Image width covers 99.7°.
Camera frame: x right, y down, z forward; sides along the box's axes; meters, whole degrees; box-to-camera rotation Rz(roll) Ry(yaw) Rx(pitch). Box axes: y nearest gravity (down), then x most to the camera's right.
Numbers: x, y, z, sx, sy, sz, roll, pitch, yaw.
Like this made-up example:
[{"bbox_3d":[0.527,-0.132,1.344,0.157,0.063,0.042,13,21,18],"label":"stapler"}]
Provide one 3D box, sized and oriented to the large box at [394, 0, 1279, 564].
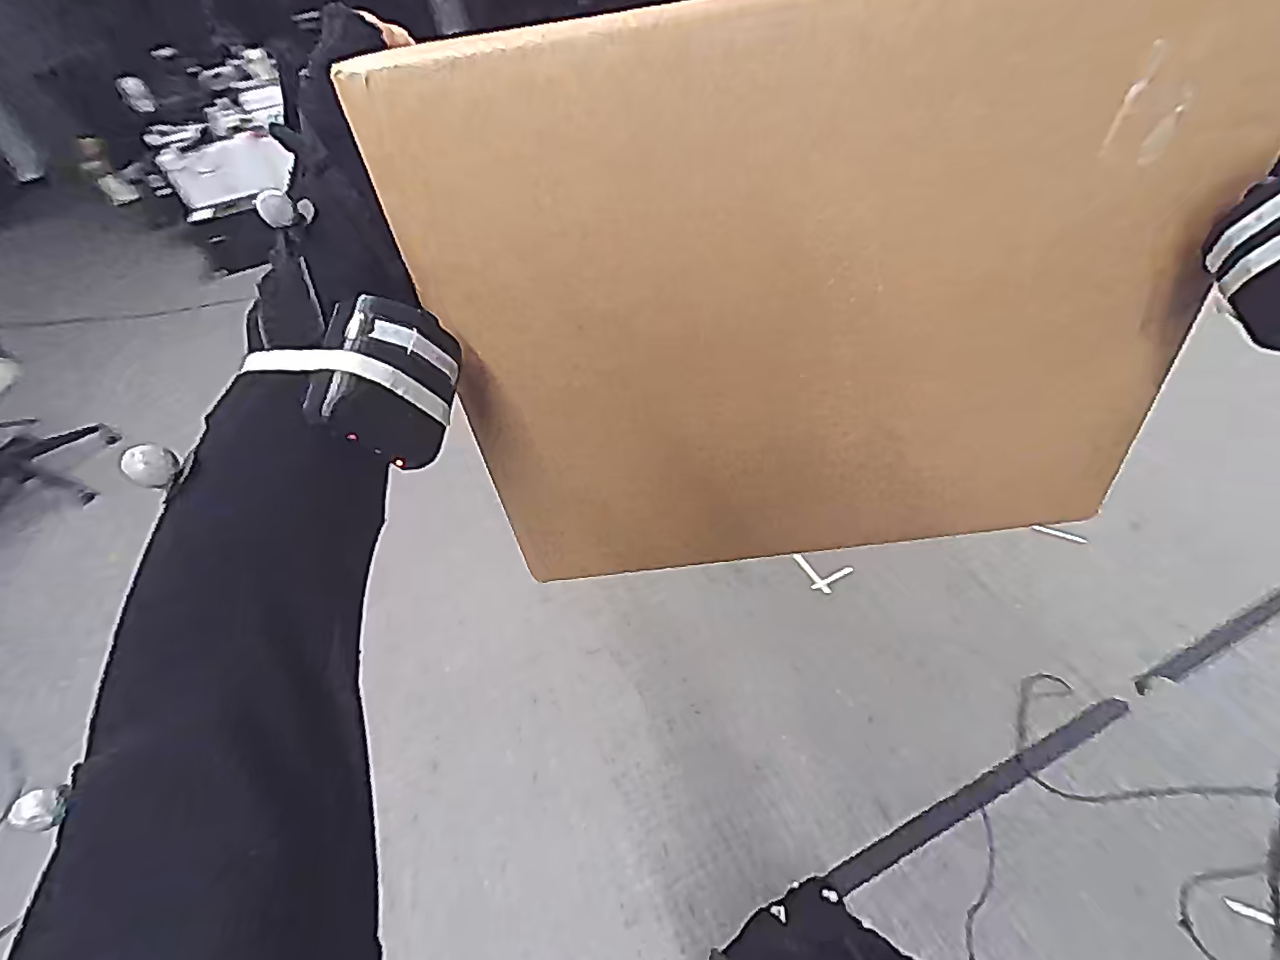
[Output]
[{"bbox_3d":[0.101,-0.164,0.429,0.408,0.320,0.320,-7,38,3],"label":"large box"}]
